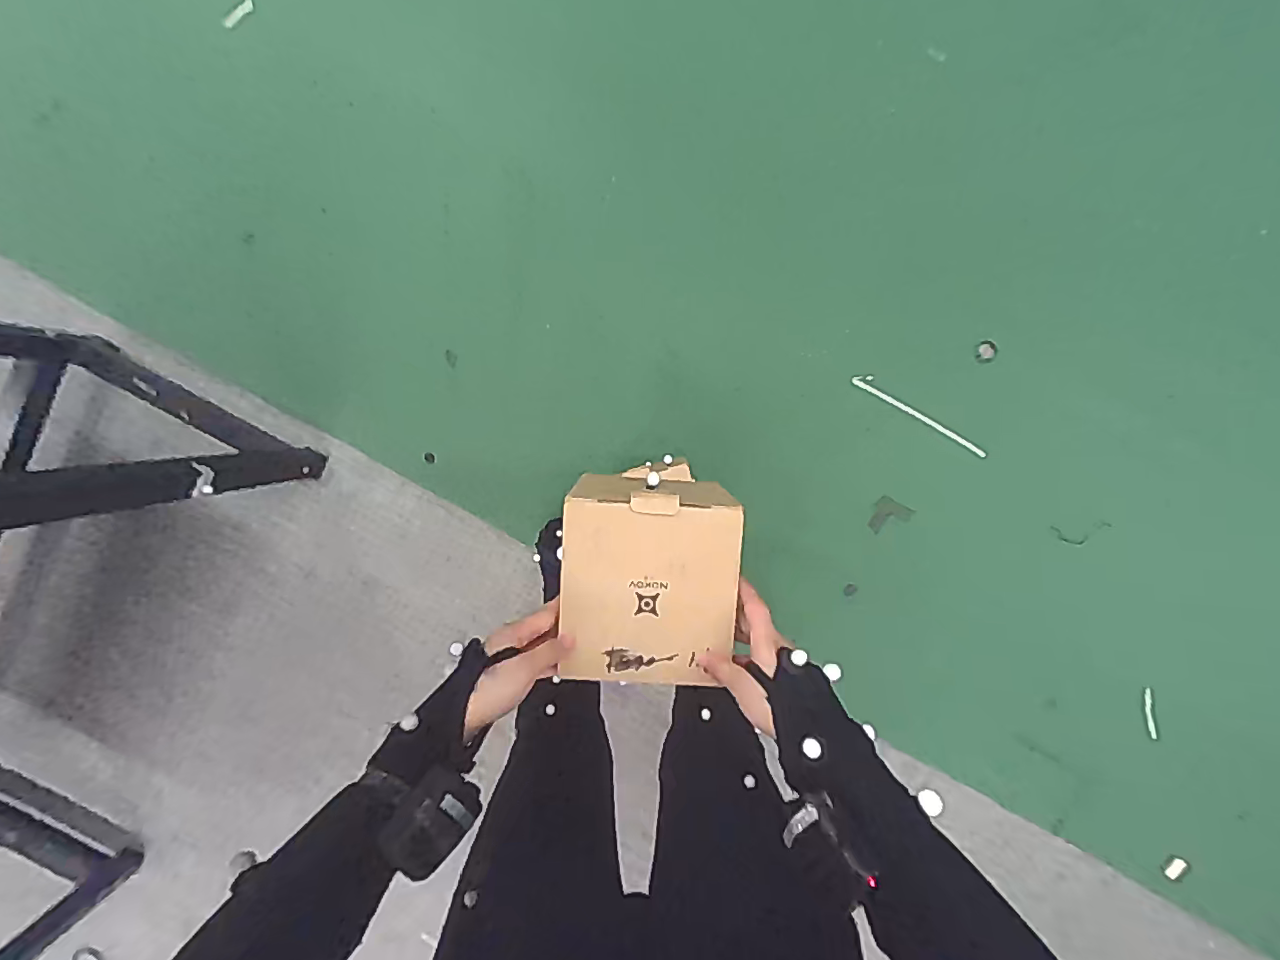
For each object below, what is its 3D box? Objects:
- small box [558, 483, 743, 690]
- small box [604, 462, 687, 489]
[{"bbox_3d":[0.006,0.100,0.581,0.168,0.176,0.179,3,99,-1],"label":"small box"},{"bbox_3d":[0.021,0.072,1.082,0.168,0.176,0.179,-15,95,5],"label":"small box"}]
